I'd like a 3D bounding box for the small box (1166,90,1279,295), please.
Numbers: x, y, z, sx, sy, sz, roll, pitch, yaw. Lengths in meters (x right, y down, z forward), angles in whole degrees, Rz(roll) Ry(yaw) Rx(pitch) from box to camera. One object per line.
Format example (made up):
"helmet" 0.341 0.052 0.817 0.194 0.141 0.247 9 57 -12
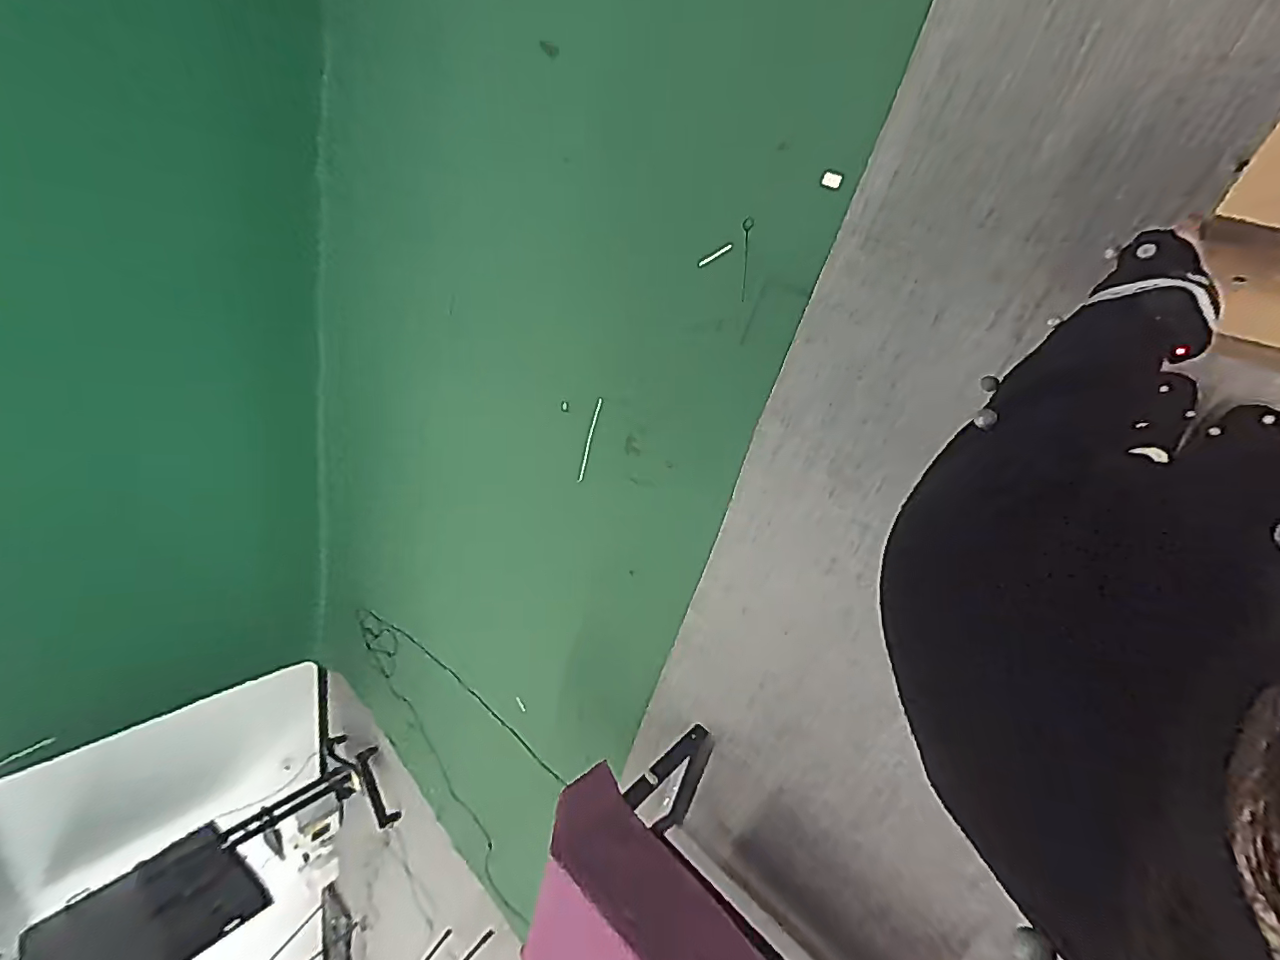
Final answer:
"small box" 0.727 -0.305 0.589 0.168 0.176 0.179 34 121 28

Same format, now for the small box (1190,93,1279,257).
"small box" 0.627 -0.284 0.459 0.168 0.176 0.179 35 122 27
